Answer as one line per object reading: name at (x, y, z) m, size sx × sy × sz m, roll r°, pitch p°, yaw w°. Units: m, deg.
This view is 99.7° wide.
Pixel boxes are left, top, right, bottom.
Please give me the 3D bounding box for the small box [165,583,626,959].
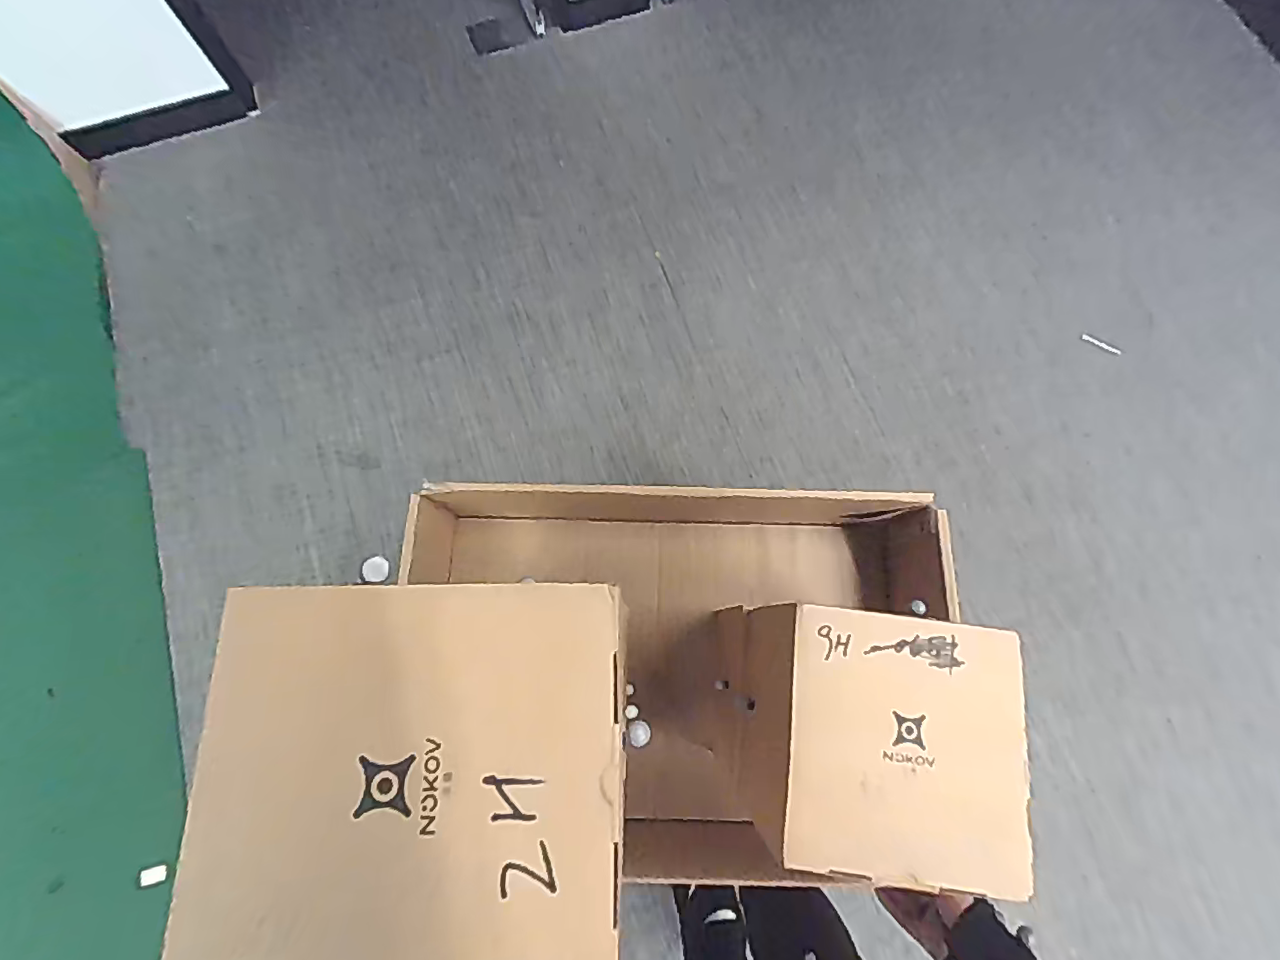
small box at (-0.097, 0.147, 0.301) m, size 0.179 × 0.176 × 0.168 m, roll 1°, pitch 76°, yaw -2°
